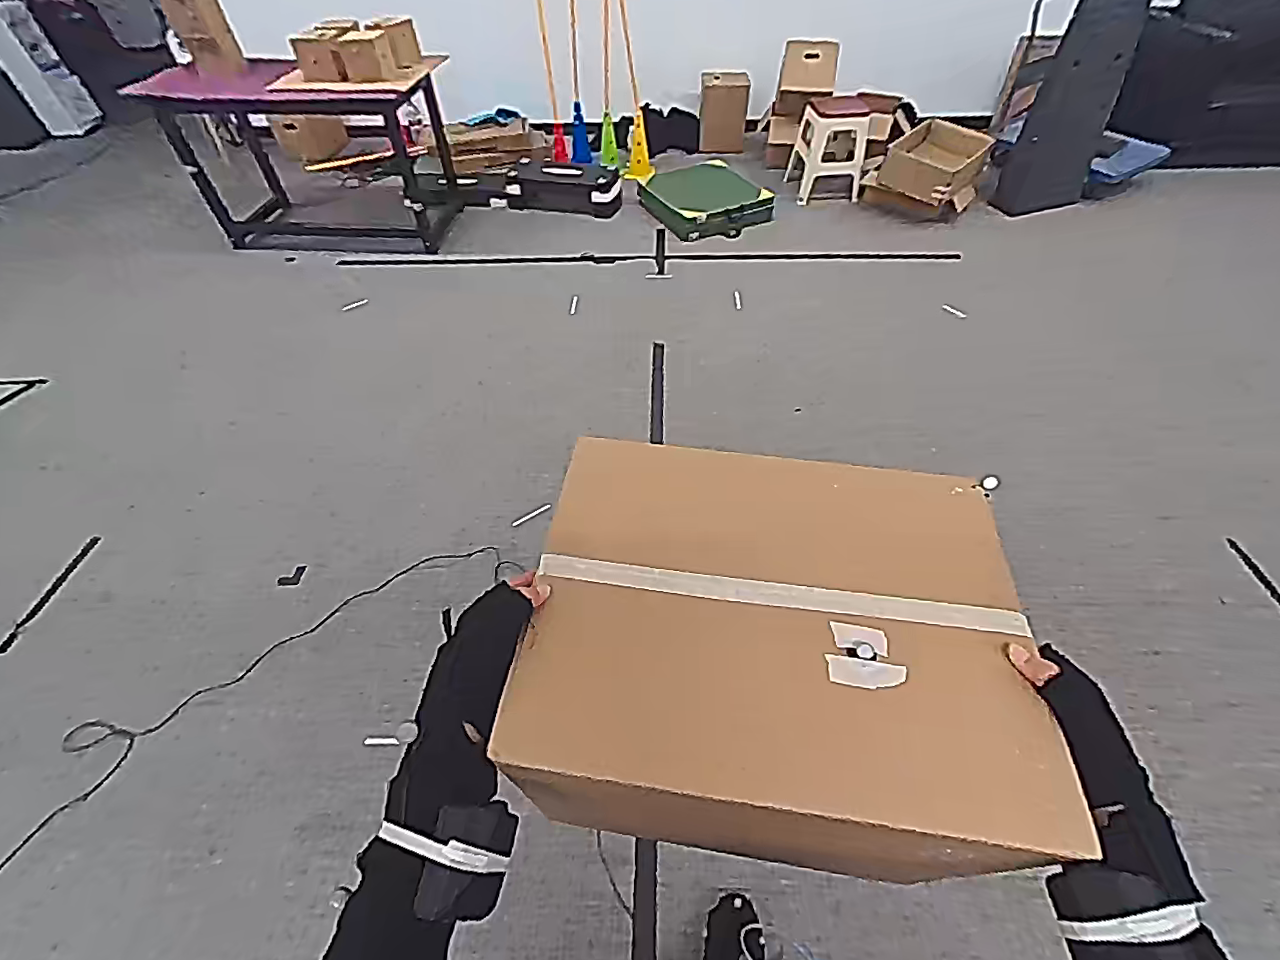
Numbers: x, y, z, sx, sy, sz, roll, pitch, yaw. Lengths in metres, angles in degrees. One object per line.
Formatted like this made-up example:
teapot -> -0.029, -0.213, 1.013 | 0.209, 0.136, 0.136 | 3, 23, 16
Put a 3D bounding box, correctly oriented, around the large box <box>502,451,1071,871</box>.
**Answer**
large box -> 0.110, 0.198, 0.582 | 0.408, 0.320, 0.320 | 6, 52, 5
